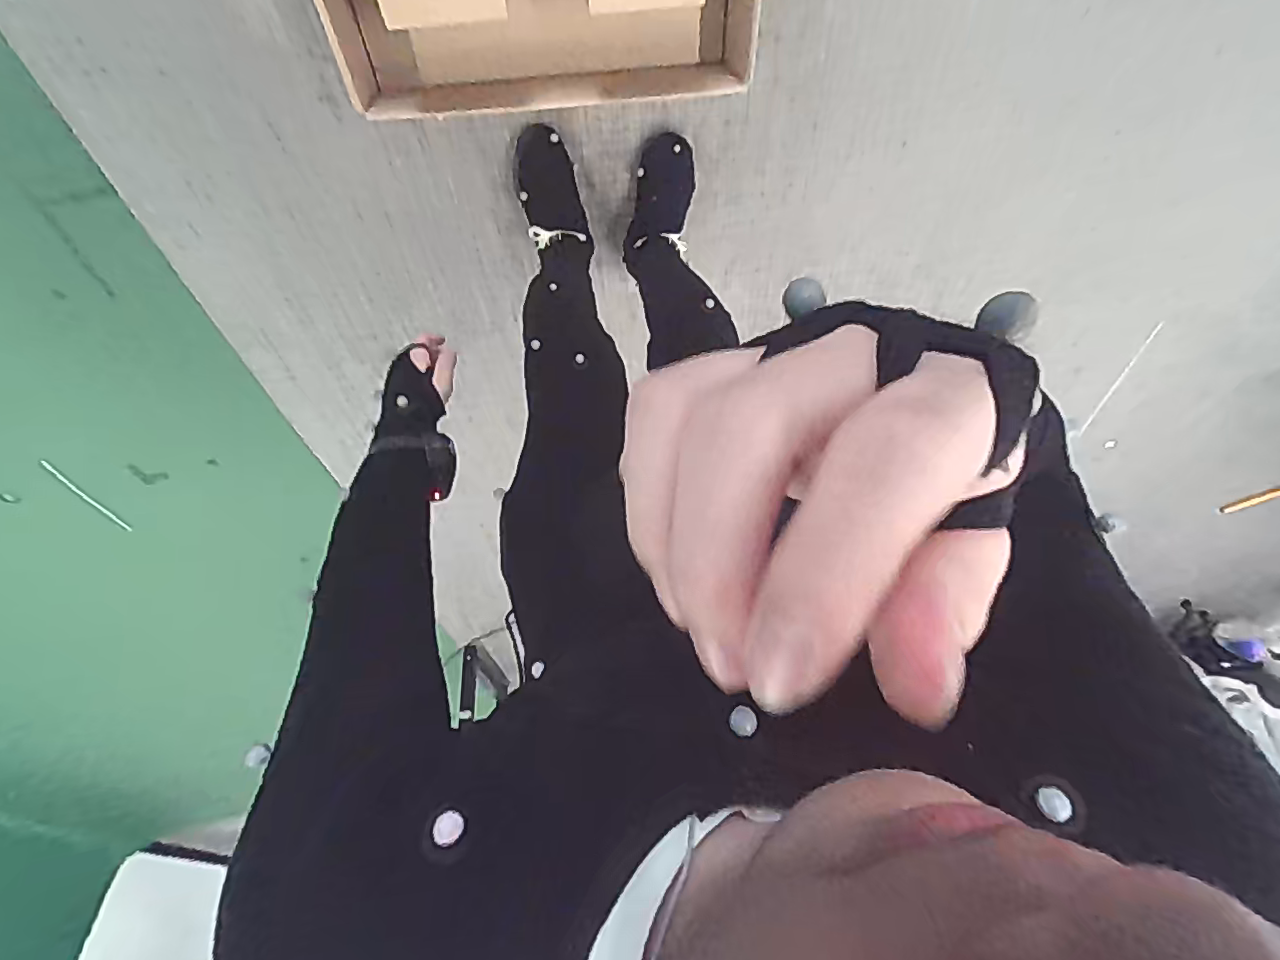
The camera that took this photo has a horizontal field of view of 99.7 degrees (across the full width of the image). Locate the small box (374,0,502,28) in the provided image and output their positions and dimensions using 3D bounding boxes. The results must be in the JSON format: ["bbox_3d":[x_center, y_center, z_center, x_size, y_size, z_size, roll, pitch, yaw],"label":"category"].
[{"bbox_3d":[-0.281,-0.734,0.719,0.168,0.176,0.179,-9,138,-5],"label":"small box"}]

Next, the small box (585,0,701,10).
[{"bbox_3d":[-0.009,-0.773,0.738,0.168,0.176,0.179,-7,139,-3],"label":"small box"}]
